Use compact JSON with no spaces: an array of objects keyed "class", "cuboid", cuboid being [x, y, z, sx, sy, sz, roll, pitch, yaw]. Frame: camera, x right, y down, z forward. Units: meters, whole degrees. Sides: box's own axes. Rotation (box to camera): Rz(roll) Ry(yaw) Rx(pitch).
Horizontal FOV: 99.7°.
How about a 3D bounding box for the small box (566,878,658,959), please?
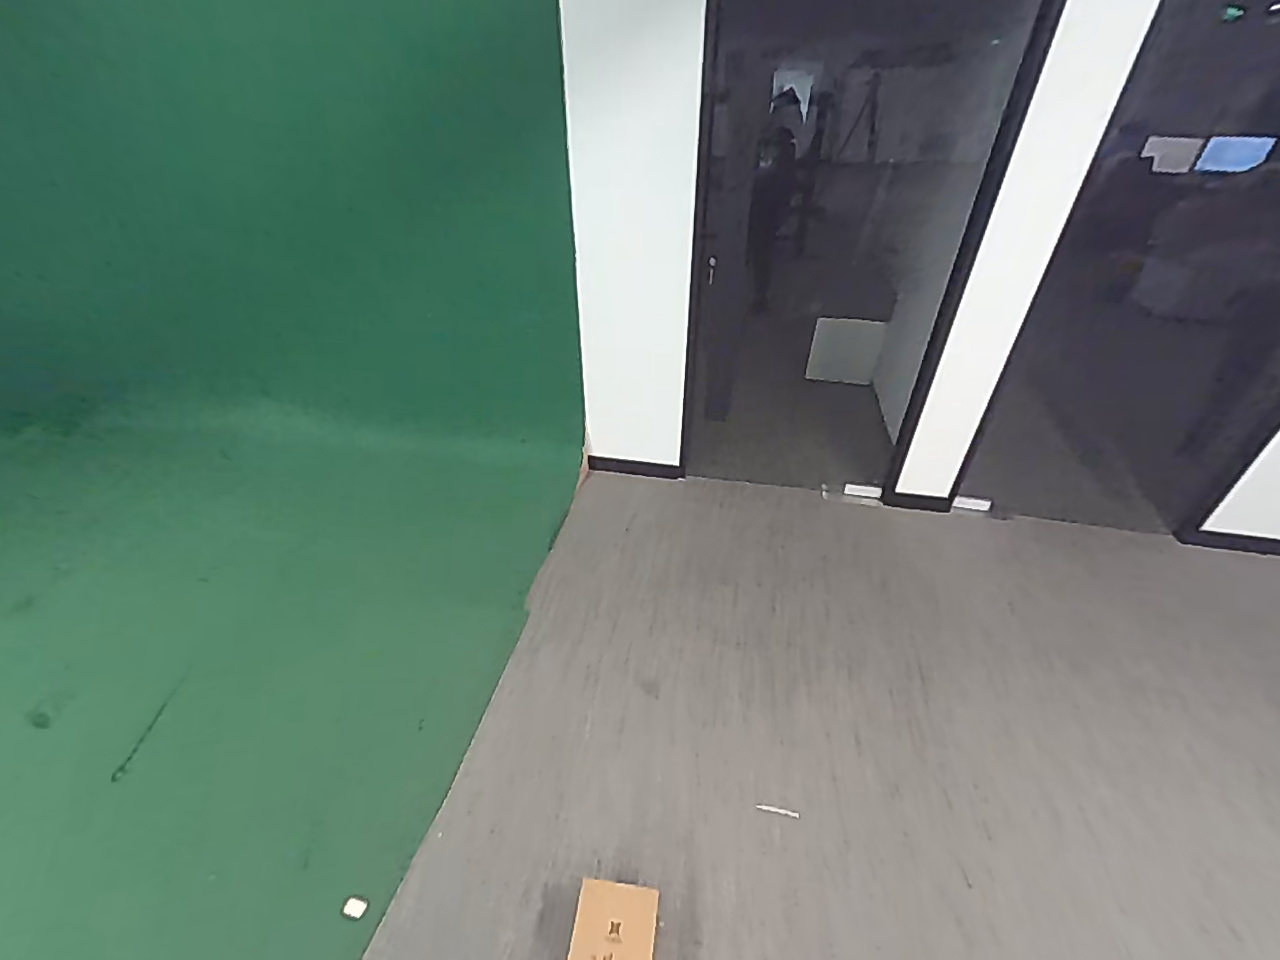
[{"class":"small box","cuboid":[-0.057,0.970,1.118,0.168,0.176,0.179,5,35,7]}]
